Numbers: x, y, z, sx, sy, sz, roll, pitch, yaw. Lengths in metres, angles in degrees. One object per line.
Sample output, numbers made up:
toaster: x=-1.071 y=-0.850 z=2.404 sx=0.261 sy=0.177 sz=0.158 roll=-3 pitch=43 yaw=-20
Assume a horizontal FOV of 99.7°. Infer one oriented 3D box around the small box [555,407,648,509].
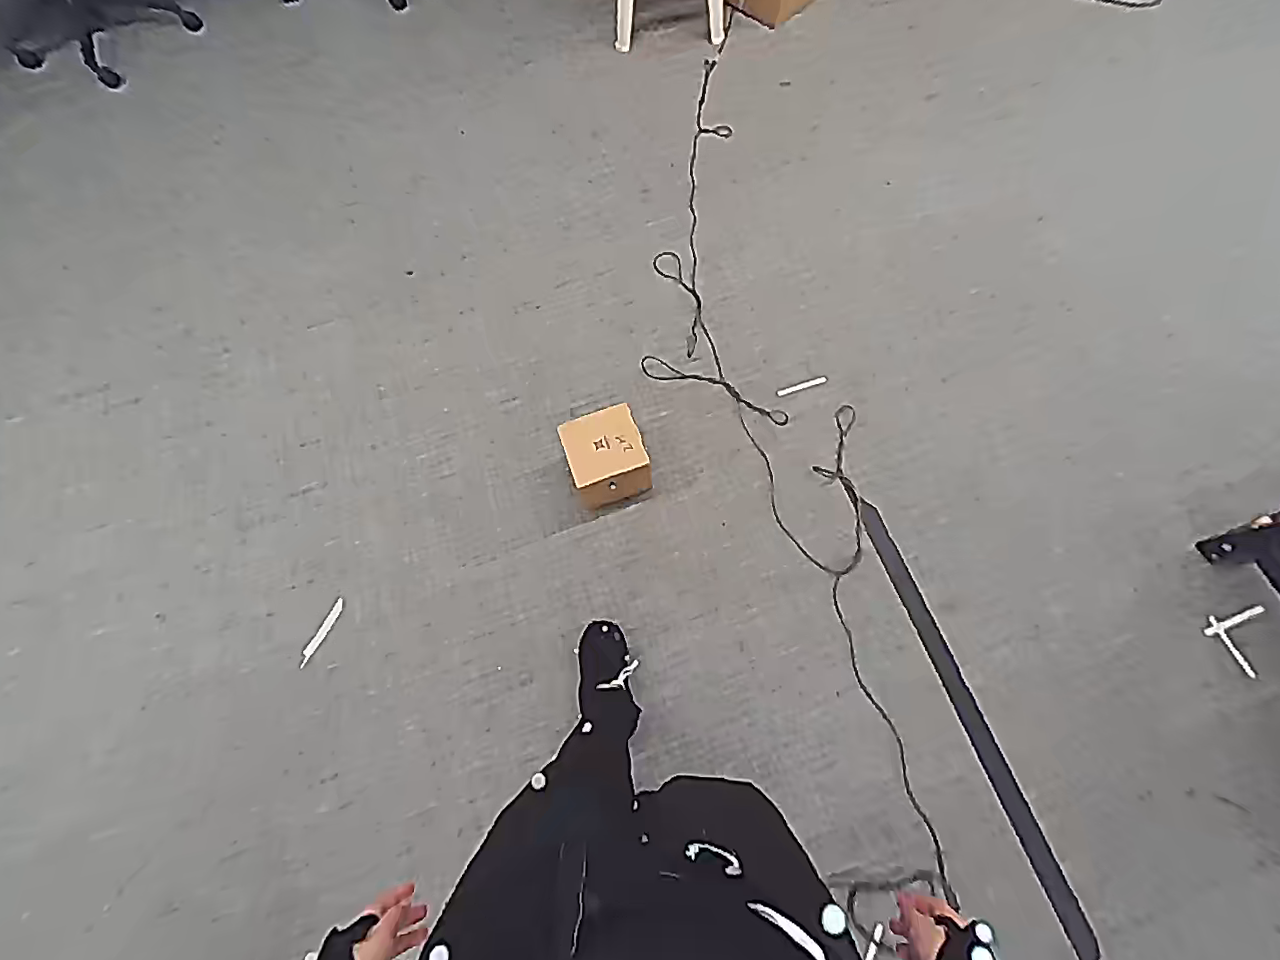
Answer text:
small box: x=-0.086 y=-0.046 z=1.297 sx=0.179 sy=0.176 sz=0.168 roll=-19 pitch=71 yaw=-5
